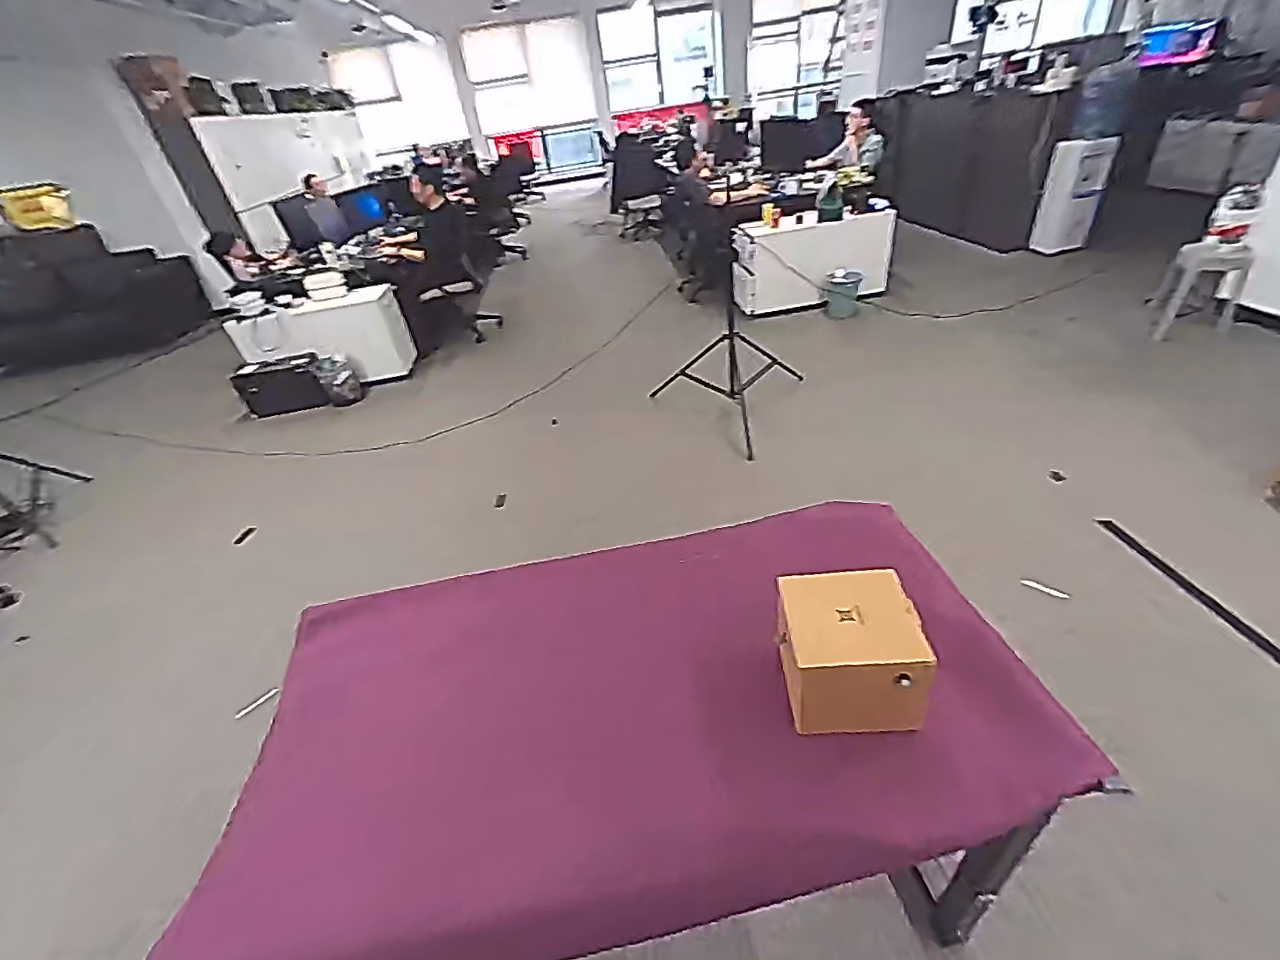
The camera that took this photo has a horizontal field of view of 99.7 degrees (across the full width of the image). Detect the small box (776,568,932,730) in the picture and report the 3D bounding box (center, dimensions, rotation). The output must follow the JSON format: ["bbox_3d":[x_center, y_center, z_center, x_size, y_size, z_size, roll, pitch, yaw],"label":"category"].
[{"bbox_3d":[0.306,0.255,0.811,0.179,0.176,0.168,-6,36,6],"label":"small box"}]
